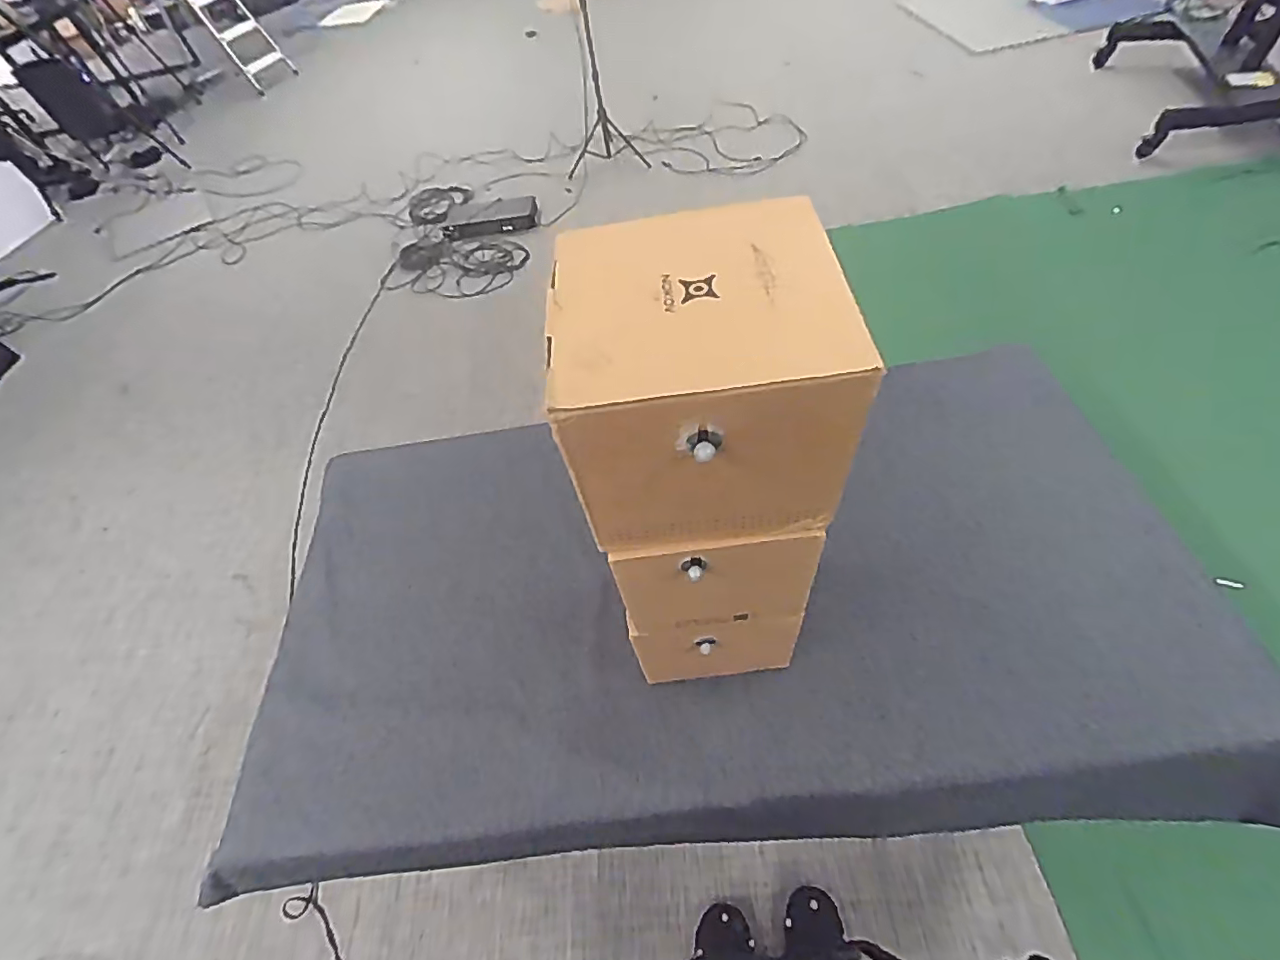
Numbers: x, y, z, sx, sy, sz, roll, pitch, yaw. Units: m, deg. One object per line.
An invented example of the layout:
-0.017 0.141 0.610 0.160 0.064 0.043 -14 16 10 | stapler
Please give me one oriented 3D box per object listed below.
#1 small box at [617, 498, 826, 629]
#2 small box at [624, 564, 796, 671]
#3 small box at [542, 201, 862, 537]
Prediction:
0.063 0.026 0.530 0.168 0.176 0.179 -9 55 2 | small box
0.078 0.122 0.658 0.179 0.176 0.168 -8 54 3 | small box
0.038 -0.070 0.398 0.179 0.176 0.168 -7 56 4 | small box
